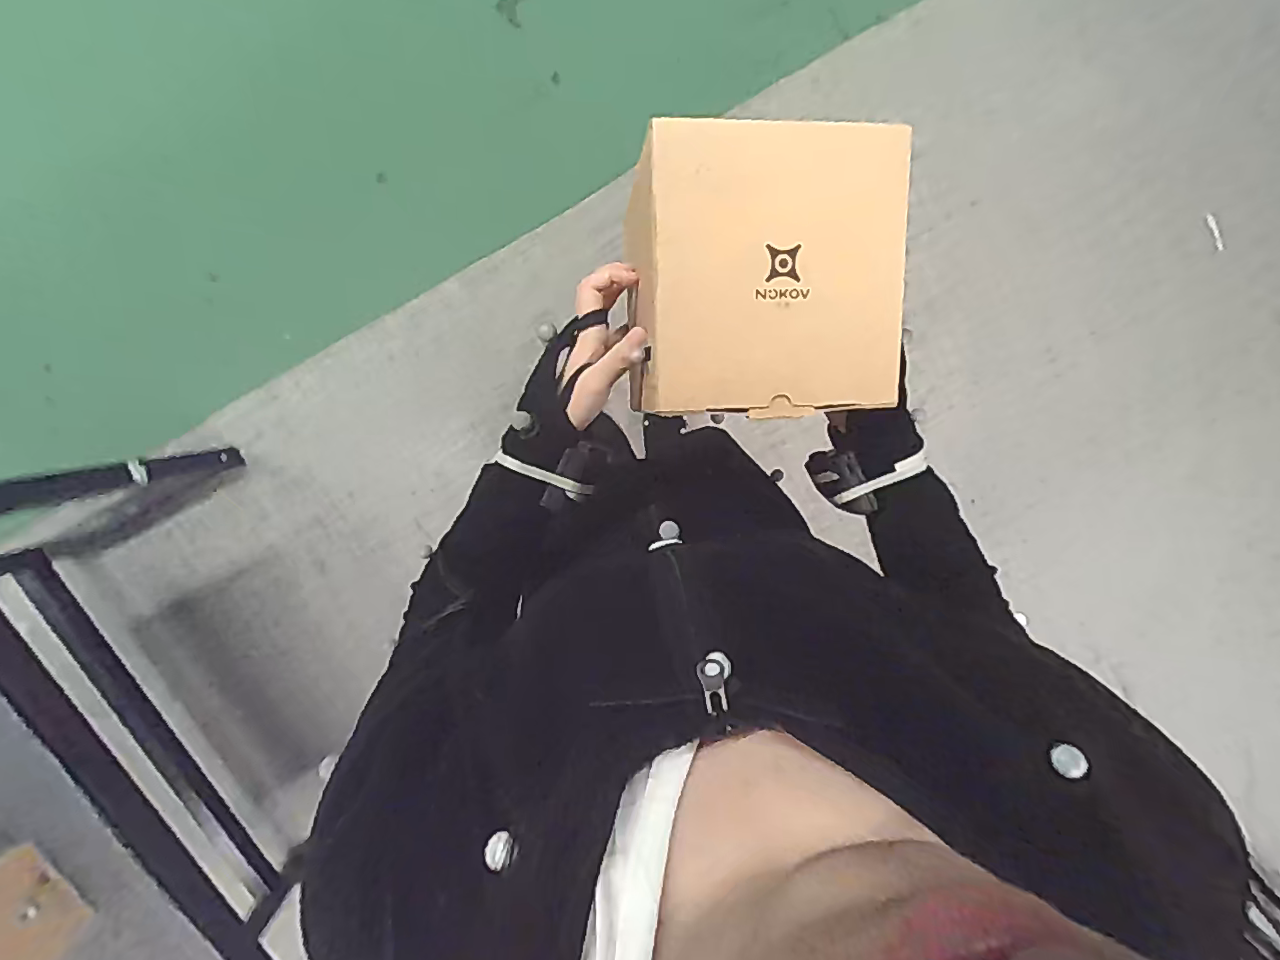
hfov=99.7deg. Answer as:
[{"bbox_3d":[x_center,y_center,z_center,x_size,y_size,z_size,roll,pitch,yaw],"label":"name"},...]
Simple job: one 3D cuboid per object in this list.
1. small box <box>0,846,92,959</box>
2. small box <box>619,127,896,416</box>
[{"bbox_3d":[-0.939,0.660,0.741,0.179,0.176,0.168,-29,100,3],"label":"small box"},{"bbox_3d":[0.076,-0.144,0.425,0.168,0.176,0.179,-5,100,-7],"label":"small box"}]
